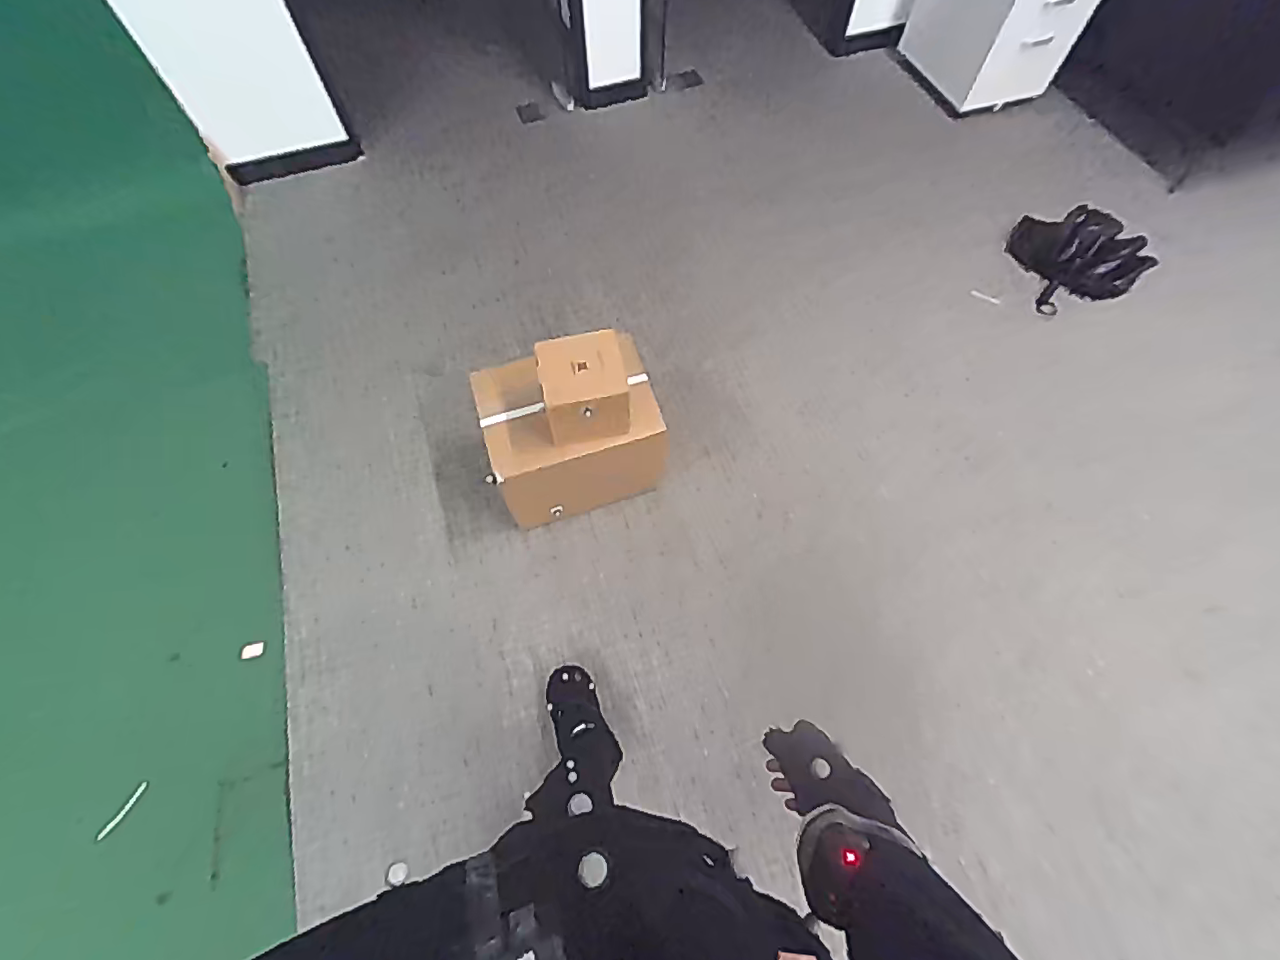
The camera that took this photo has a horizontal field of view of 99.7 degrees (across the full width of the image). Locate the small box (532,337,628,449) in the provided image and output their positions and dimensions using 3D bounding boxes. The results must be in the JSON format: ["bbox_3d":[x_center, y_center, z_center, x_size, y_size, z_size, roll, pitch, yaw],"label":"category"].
[{"bbox_3d":[-0.126,-0.183,1.183,0.179,0.176,0.168,-12,66,-7],"label":"small box"}]
